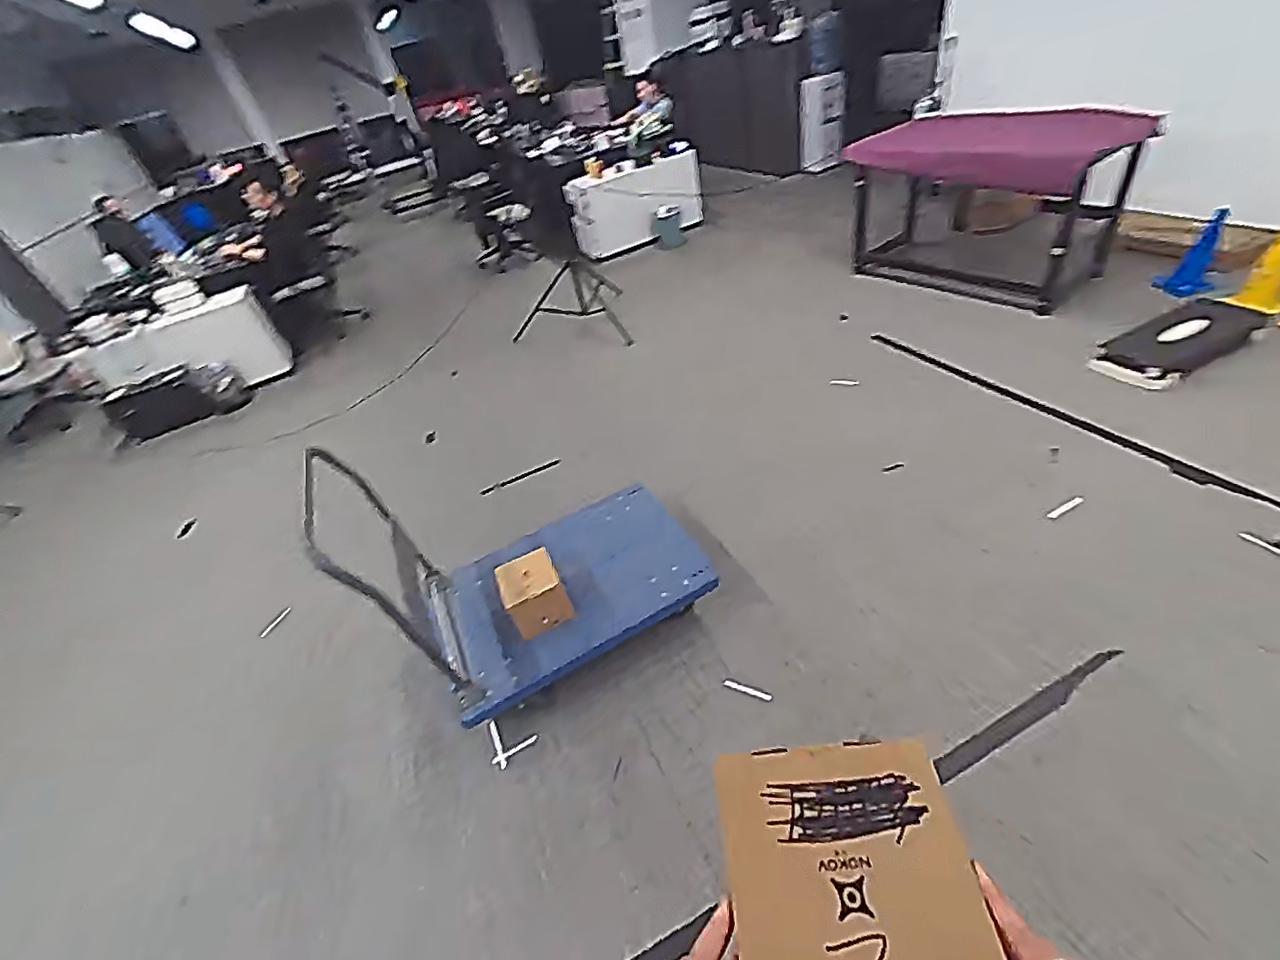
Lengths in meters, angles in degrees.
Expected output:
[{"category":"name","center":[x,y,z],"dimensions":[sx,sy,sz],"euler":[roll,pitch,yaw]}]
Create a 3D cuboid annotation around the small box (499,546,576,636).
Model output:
[{"category":"small box","center":[-0.313,0.343,1.661],"dimensions":[0.168,0.176,0.179],"euler":[-24,41,-10]}]
